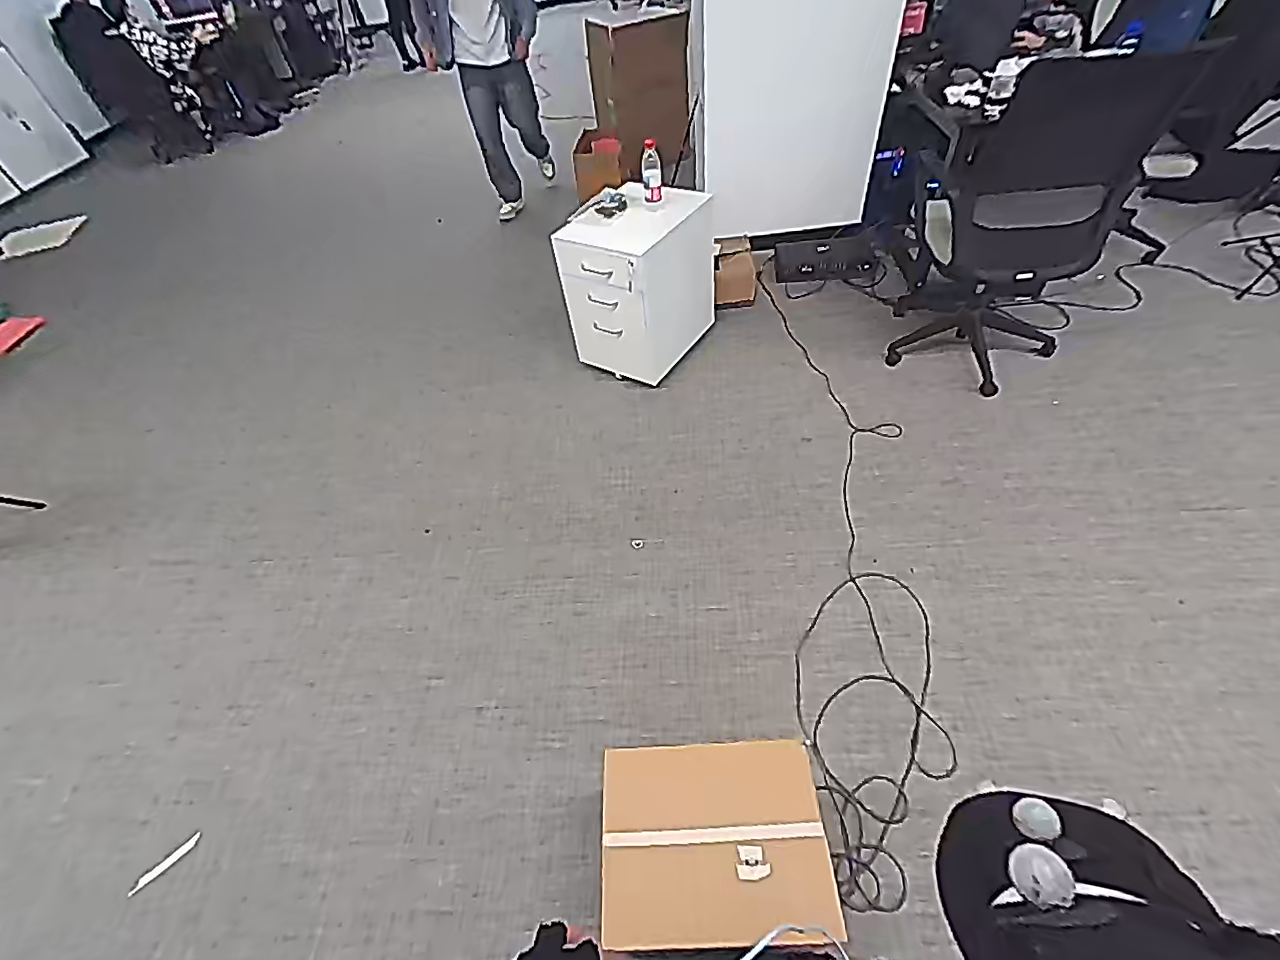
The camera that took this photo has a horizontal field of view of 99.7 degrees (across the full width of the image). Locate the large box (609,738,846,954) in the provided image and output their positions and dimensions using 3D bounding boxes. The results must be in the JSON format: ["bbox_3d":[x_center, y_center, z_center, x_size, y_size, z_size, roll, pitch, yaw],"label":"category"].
[{"bbox_3d":[0.153,0.751,1.104,0.408,0.320,0.320,-5,48,3],"label":"large box"}]
